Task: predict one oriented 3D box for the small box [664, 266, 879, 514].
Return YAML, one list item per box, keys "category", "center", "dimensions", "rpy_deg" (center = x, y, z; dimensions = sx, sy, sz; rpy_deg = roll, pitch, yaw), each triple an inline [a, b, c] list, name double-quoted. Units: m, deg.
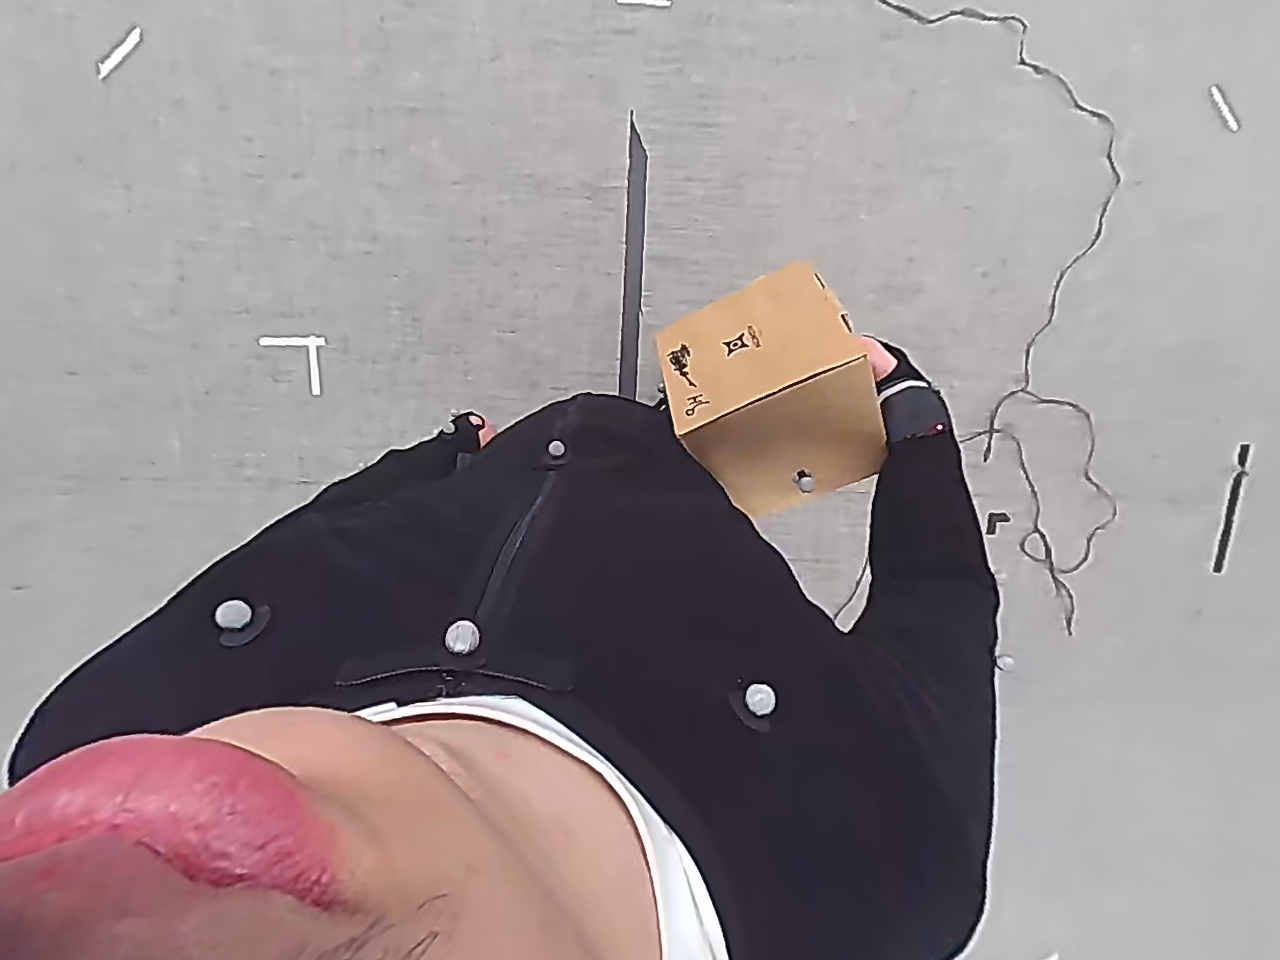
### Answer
- category: "small box"
  center: [0.146, -0.090, 0.594]
  dimensions: [0.179, 0.168, 0.176]
  rpy_deg: [-22, 137, 16]
